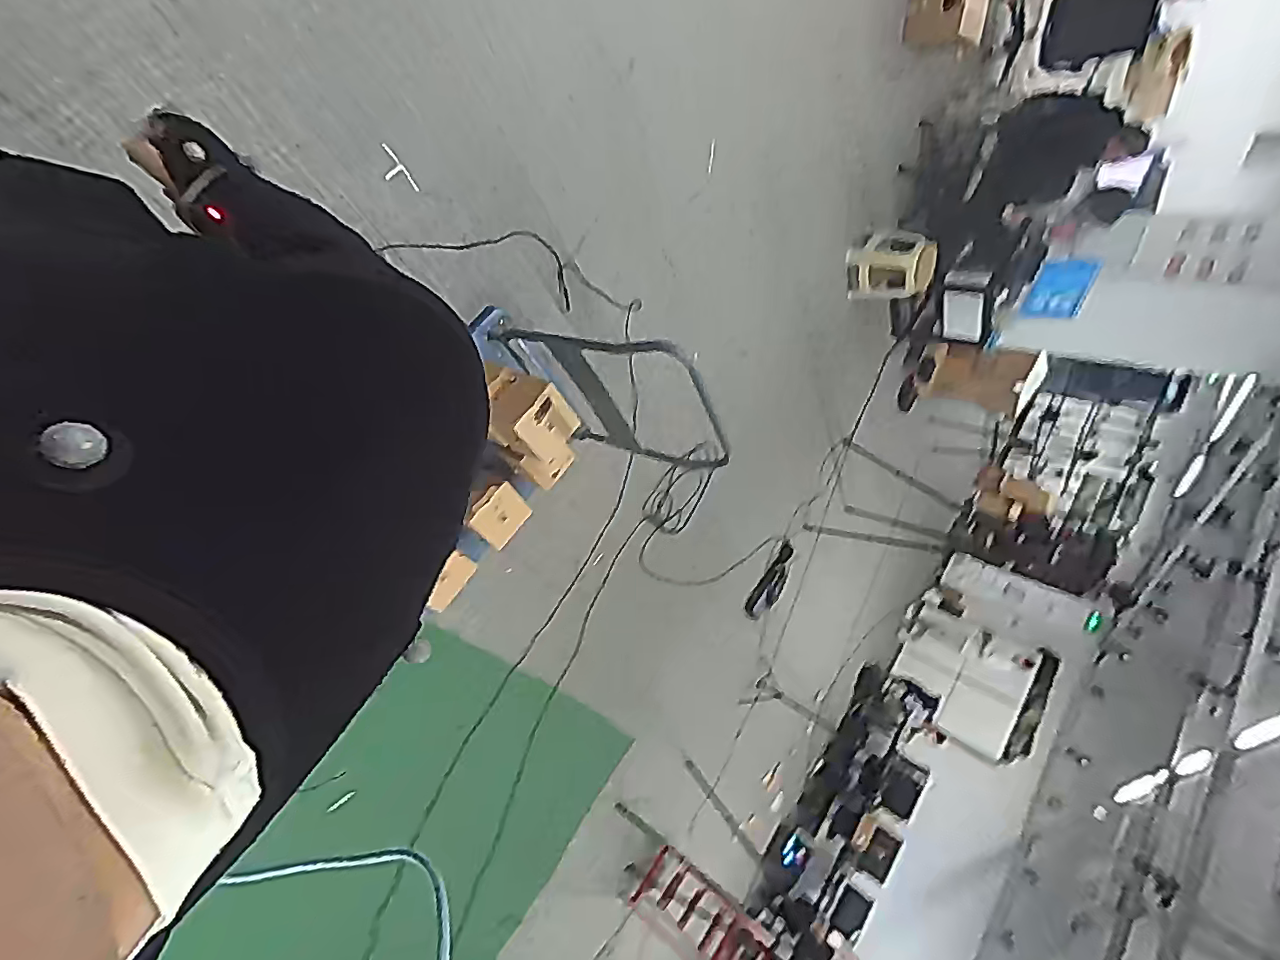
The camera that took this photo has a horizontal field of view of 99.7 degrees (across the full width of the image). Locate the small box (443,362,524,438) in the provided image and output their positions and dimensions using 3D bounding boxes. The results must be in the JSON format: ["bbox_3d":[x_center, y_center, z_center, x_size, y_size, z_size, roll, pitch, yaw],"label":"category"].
[{"bbox_3d":[-0.453,-0.246,1.611,0.179,0.176,0.168,-31,127,-39],"label":"small box"}]

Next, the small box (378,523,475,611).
[{"bbox_3d":[-0.640,0.254,1.614,0.179,0.176,0.168,-54,139,-18],"label":"small box"}]

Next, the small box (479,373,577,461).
[{"bbox_3d":[-0.317,-0.183,1.523,0.168,0.176,0.179,-54,141,-16],"label":"small box"}]
